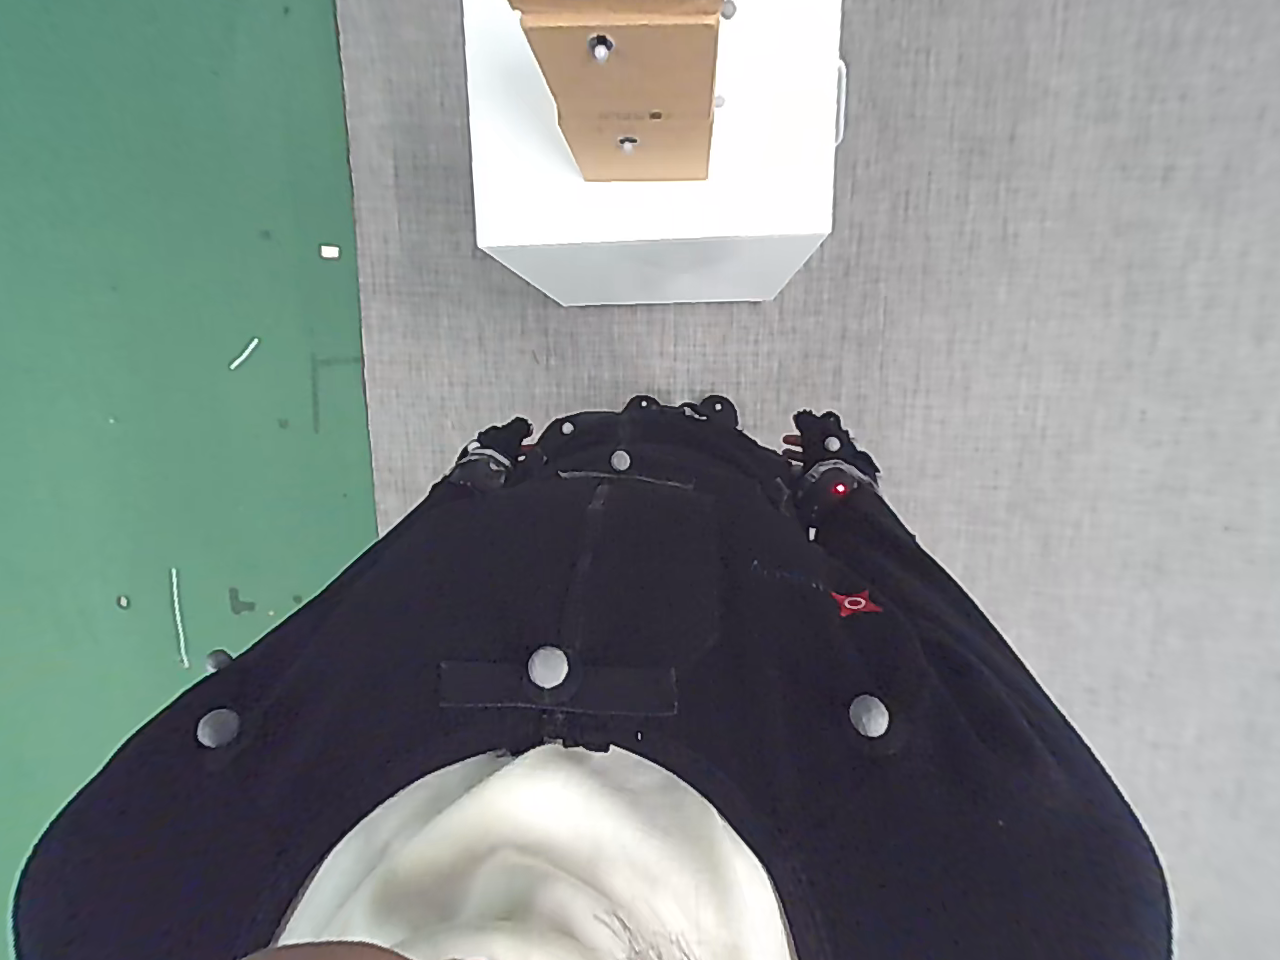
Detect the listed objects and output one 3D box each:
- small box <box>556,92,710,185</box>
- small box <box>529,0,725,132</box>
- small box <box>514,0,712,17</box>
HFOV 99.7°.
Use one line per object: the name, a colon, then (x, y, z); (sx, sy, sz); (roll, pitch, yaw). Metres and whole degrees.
small box: (0.000, -0.487, 0.675); (0.179, 0.176, 0.168); (2, 98, 5)
small box: (-0.007, -0.467, 0.516); (0.168, 0.176, 0.179); (0, 99, 4)
small box: (-0.024, -0.447, 0.353); (0.179, 0.176, 0.168); (4, 101, 4)
